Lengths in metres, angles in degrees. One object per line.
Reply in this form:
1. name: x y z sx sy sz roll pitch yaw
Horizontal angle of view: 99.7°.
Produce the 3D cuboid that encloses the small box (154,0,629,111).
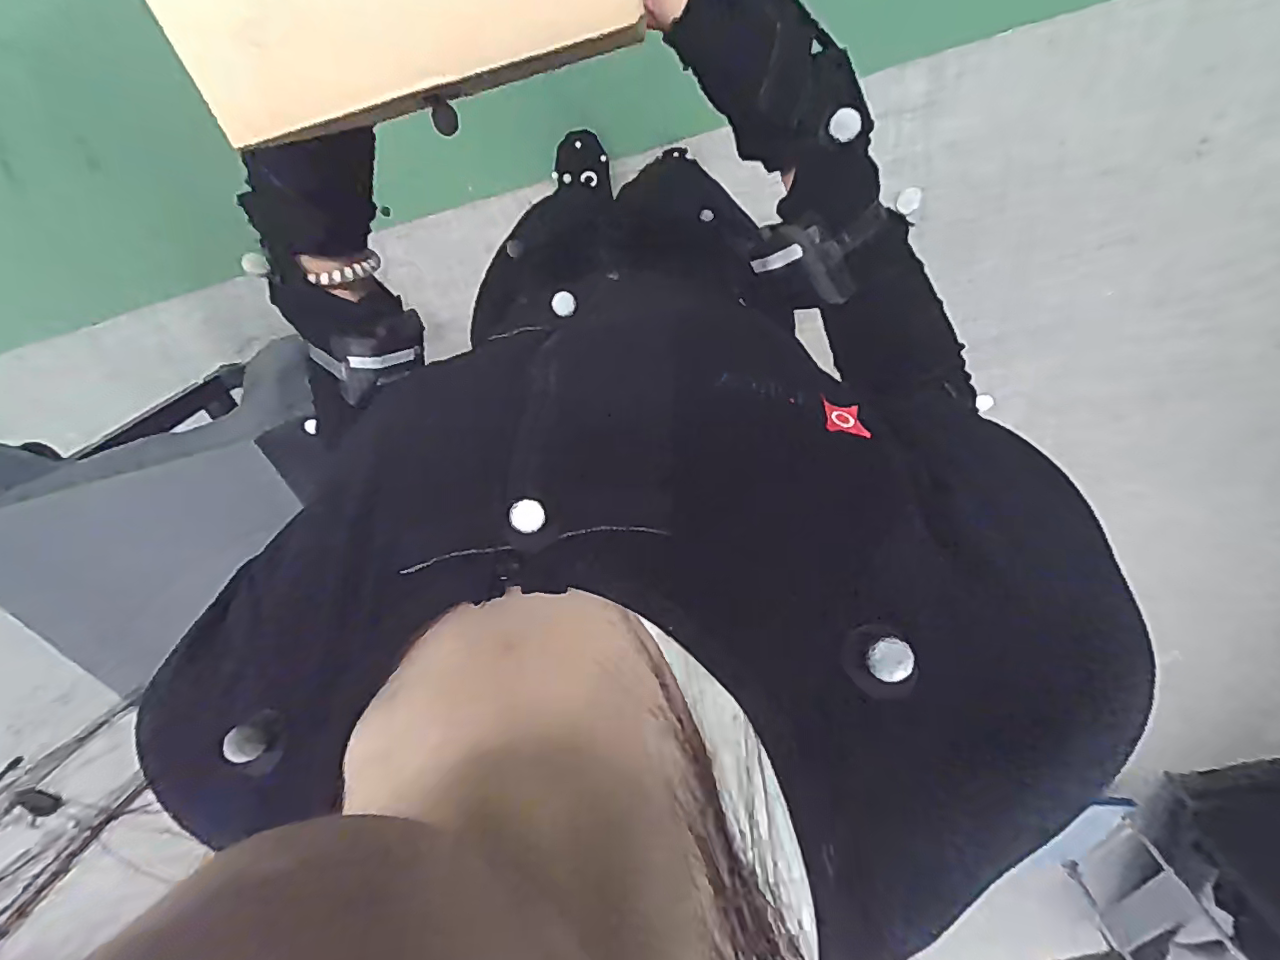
1. small box: -0.102 -0.271 0.221 0.179 0.176 0.168 -10 128 8
